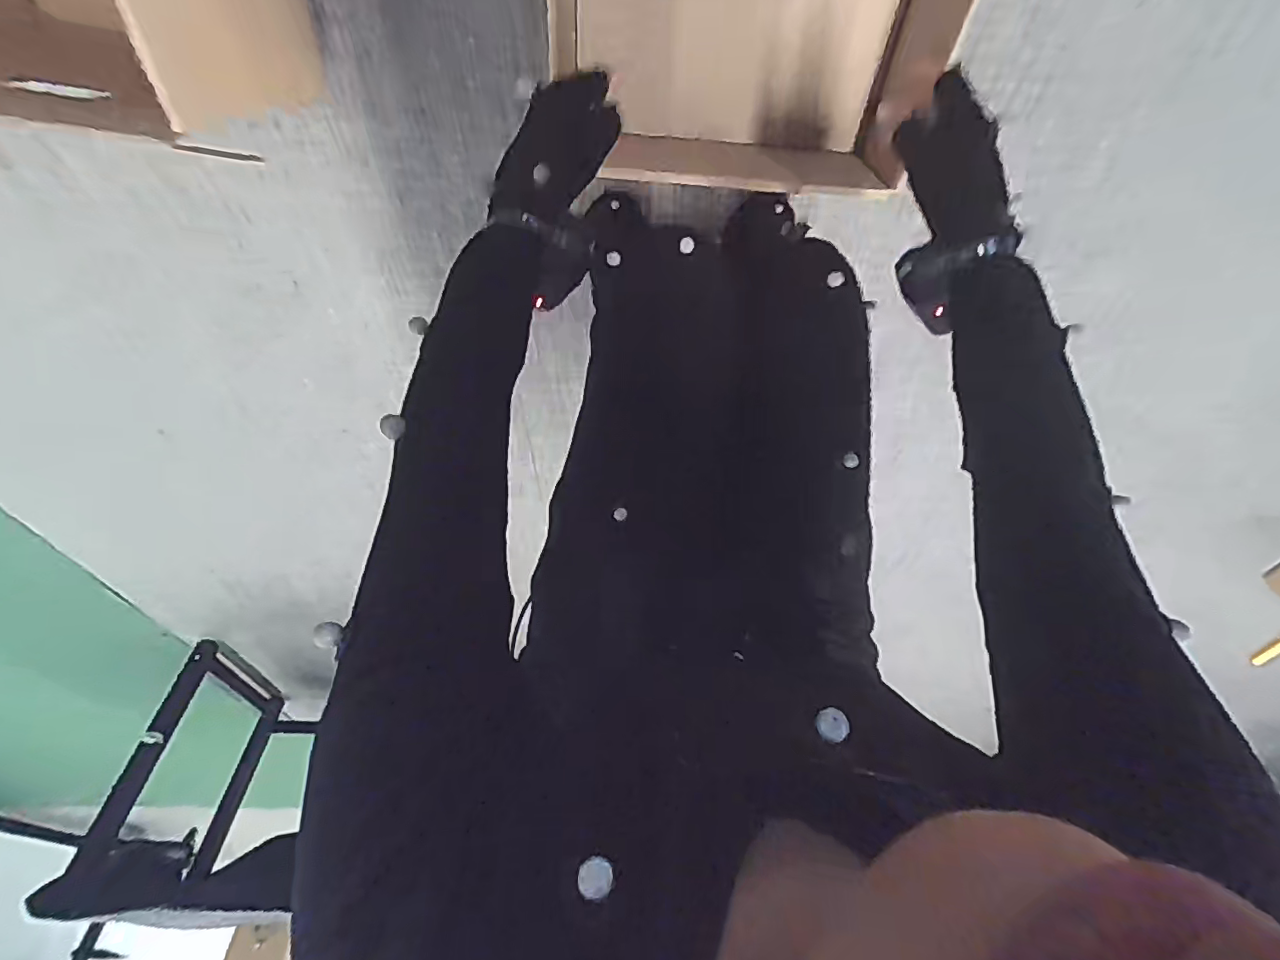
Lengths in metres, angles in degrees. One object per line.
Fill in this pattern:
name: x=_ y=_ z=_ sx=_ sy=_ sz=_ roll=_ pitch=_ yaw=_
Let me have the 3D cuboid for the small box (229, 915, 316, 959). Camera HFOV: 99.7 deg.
small box: x=-1.091 y=1.405 z=1.598 sx=0.168 sy=0.176 sz=0.179 roll=7 pitch=136 yaw=-6
